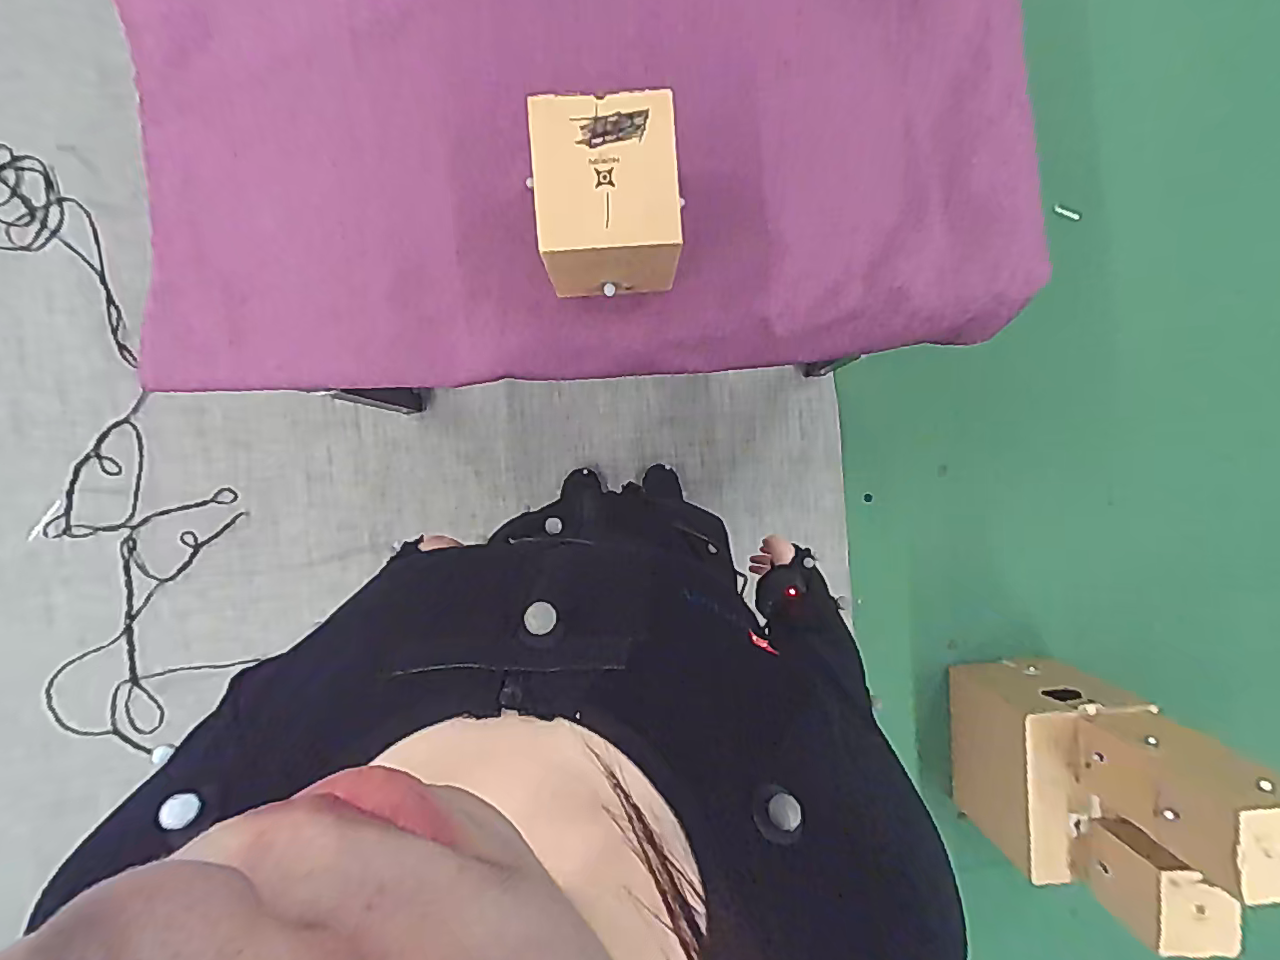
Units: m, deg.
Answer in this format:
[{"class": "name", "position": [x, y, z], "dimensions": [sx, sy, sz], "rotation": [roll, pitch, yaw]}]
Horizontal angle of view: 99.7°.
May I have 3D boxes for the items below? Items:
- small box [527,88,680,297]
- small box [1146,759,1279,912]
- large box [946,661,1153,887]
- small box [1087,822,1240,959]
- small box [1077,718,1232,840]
[{"class": "small box", "position": [-0.043, -0.347, 0.680], "dimensions": [0.168, 0.176, 0.179], "rotation": [-4, 92, -1]}, {"class": "small box", "position": [1.081, 0.630, 0.980], "dimensions": [0.179, 0.176, 0.168], "rotation": [-4, 92, -1]}, {"class": "large box", "position": [1.031, 0.724, 1.389], "dimensions": [0.320, 0.320, 0.408], "rotation": [-3, 92, 0]}, {"class": "small box", "position": [1.100, 0.870, 1.149], "dimensions": [0.168, 0.176, 0.179], "rotation": [2, 91, -2]}, {"class": "small box", "position": [1.080, 0.622, 1.145], "dimensions": [0.179, 0.176, 0.168], "rotation": [-3, 92, -1]}]
